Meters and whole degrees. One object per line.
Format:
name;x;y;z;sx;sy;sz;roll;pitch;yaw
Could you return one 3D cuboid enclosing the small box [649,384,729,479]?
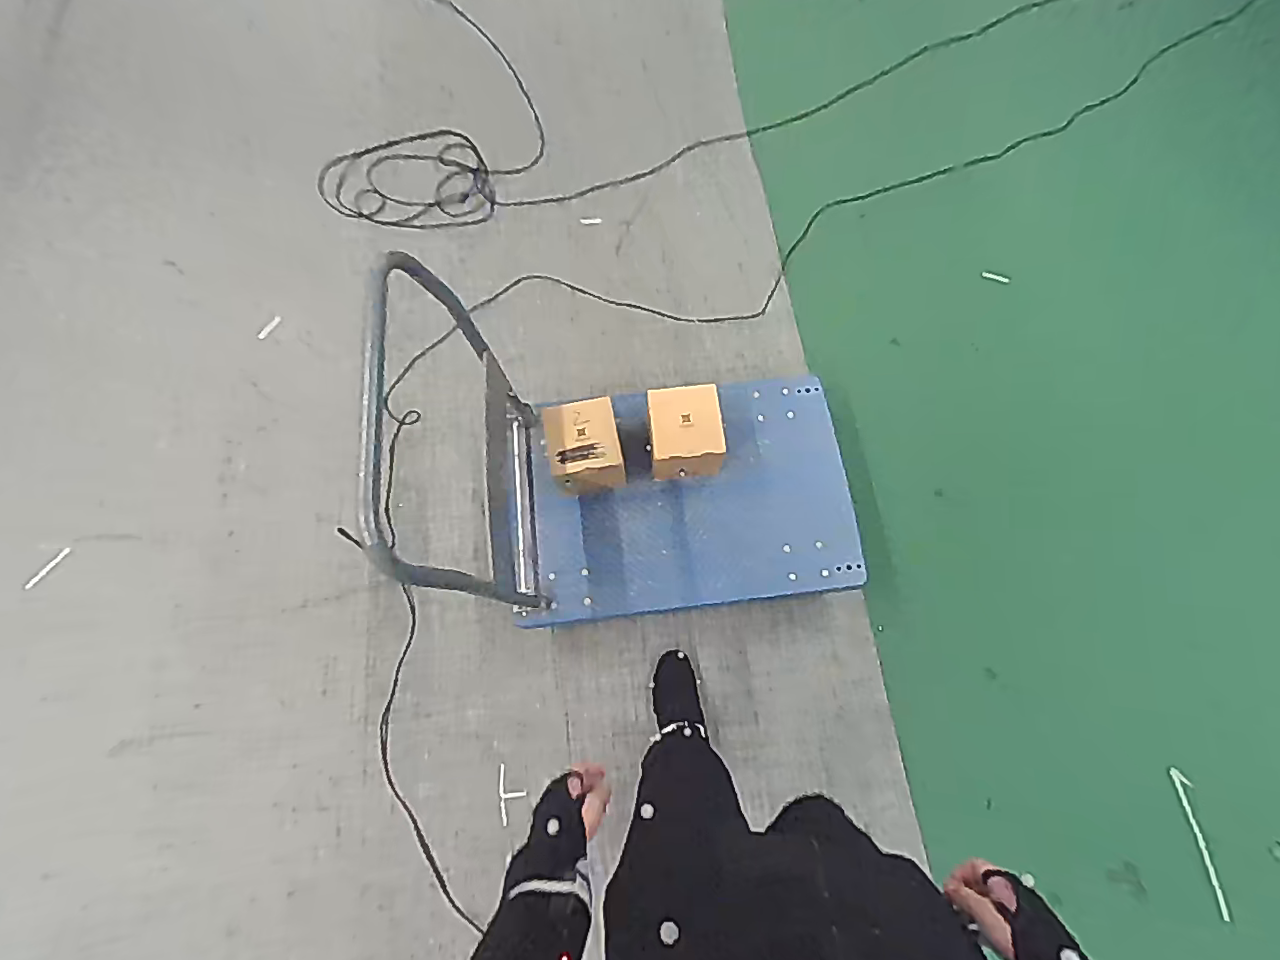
small box;0.112;-0.114;1.325;0.168;0.176;0.179;-6;74;-2
